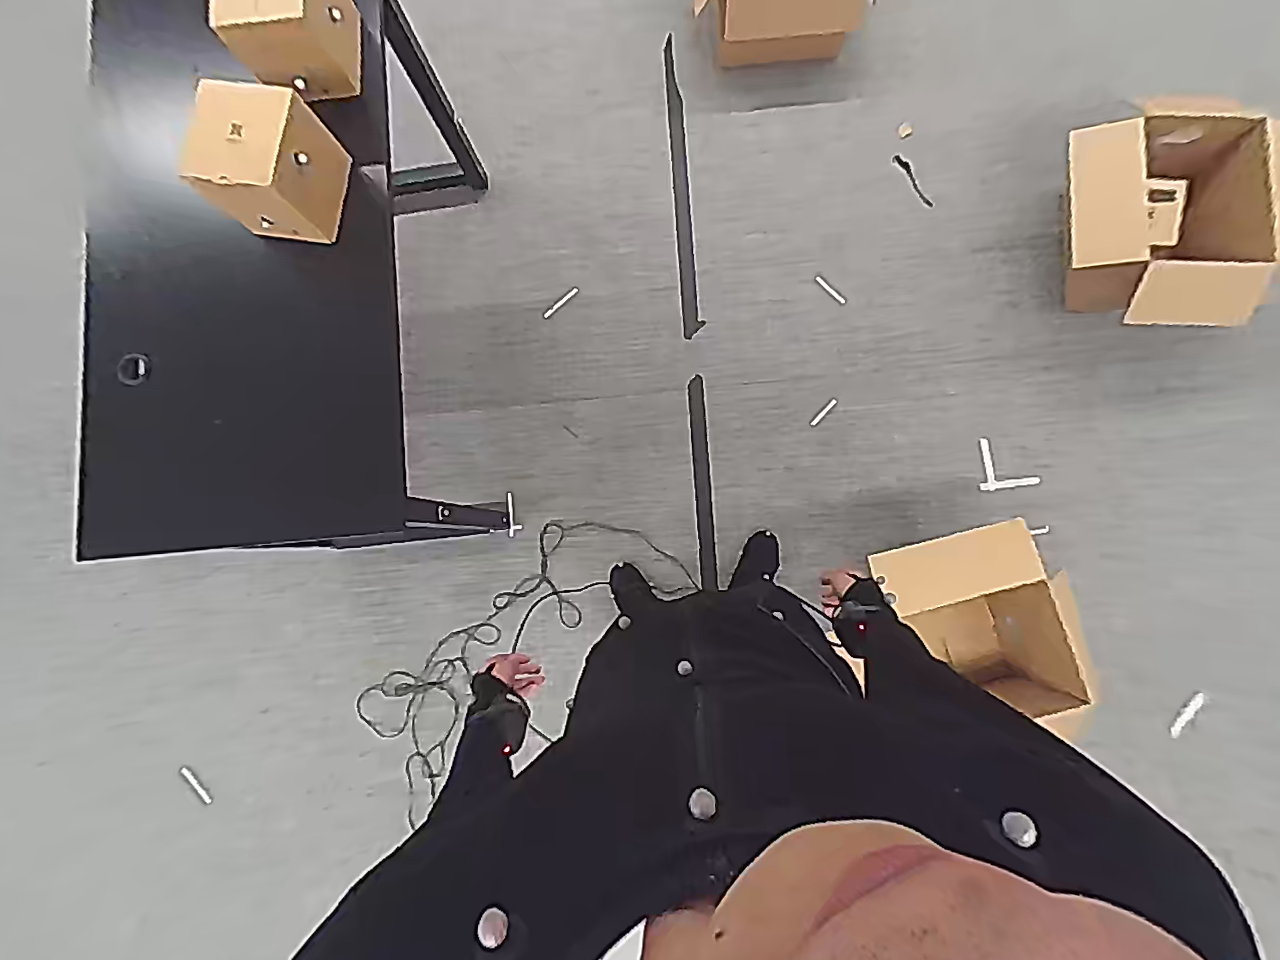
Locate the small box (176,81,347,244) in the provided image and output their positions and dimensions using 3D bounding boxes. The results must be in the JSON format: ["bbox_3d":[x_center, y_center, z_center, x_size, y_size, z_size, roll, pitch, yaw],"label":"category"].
[{"bbox_3d":[-0.649,-0.549,0.951,0.168,0.176,0.179,8,85,5],"label":"small box"}]

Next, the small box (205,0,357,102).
[{"bbox_3d":[-0.635,-0.828,0.975,0.168,0.176,0.179,-3,85,4],"label":"small box"}]
